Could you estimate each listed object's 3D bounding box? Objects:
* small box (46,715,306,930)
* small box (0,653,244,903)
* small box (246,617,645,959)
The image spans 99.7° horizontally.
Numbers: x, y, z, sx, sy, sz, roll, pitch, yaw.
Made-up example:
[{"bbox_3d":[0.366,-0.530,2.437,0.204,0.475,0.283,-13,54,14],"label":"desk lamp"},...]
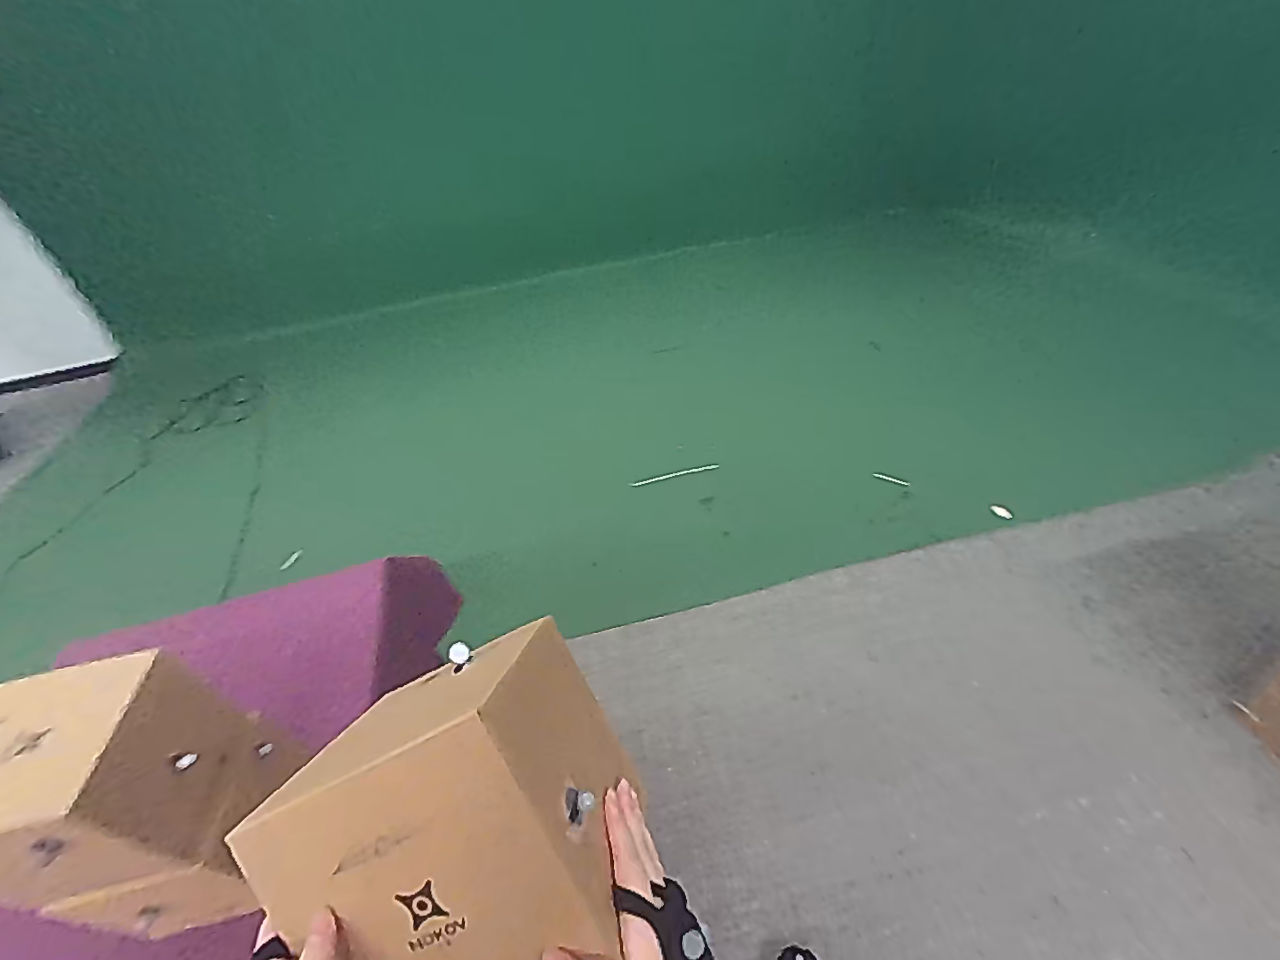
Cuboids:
[{"bbox_3d":[-0.547,0.435,0.682,0.168,0.176,0.179,-14,41,-4],"label":"small box"},{"bbox_3d":[-0.575,0.315,0.573,0.179,0.176,0.168,-13,41,-2],"label":"small box"},{"bbox_3d":[-0.106,0.225,0.378,0.168,0.179,0.176,-27,1,6],"label":"small box"}]
